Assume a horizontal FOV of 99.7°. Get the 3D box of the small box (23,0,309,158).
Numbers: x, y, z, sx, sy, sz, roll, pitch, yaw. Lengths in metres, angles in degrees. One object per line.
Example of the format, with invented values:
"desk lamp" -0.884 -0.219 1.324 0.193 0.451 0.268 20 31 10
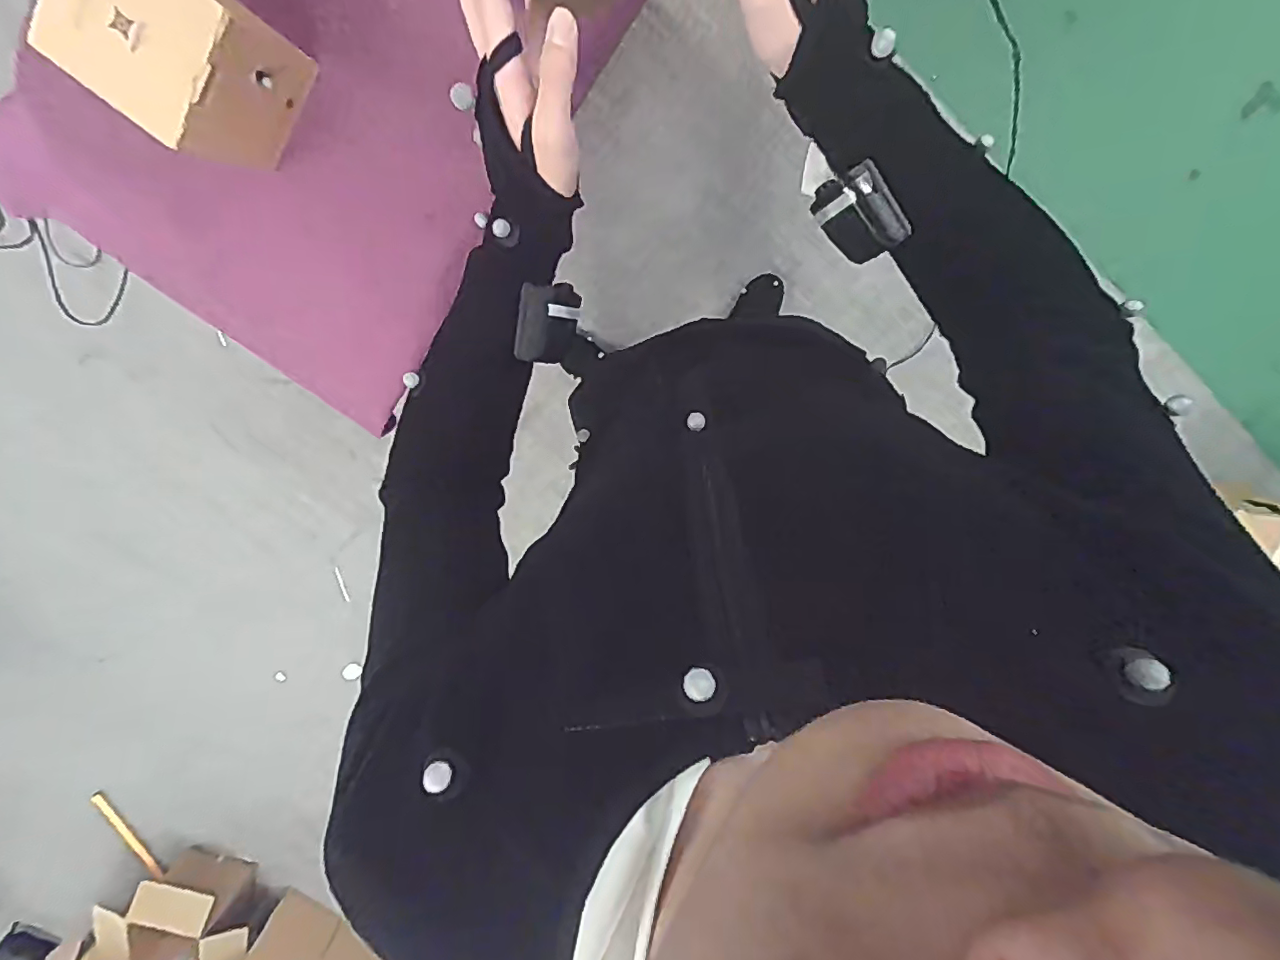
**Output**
"small box" -0.551 -0.525 0.654 0.179 0.176 0.168 37 108 -10
